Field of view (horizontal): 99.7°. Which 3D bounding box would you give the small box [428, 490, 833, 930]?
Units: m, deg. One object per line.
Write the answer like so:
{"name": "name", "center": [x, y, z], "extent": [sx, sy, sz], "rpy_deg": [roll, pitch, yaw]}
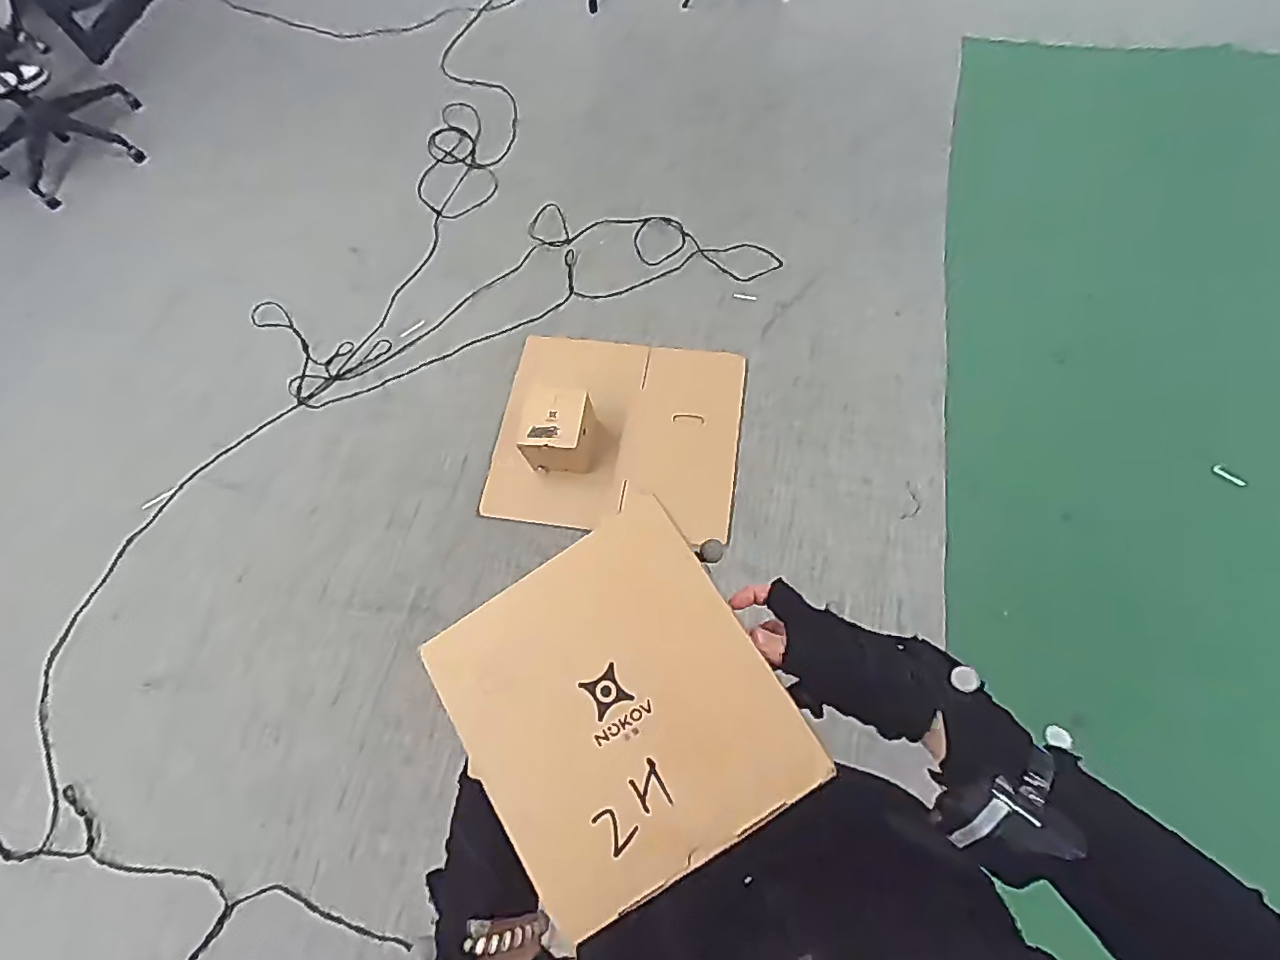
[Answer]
{"name": "small box", "center": [-0.002, 0.133, 0.371], "extent": [0.168, 0.176, 0.179], "rpy_deg": [-33, 76, 1]}

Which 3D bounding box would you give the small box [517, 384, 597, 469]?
{"name": "small box", "center": [-0.221, -0.142, 1.493], "extent": [0.168, 0.176, 0.179], "rpy_deg": [5, 68, 7]}
